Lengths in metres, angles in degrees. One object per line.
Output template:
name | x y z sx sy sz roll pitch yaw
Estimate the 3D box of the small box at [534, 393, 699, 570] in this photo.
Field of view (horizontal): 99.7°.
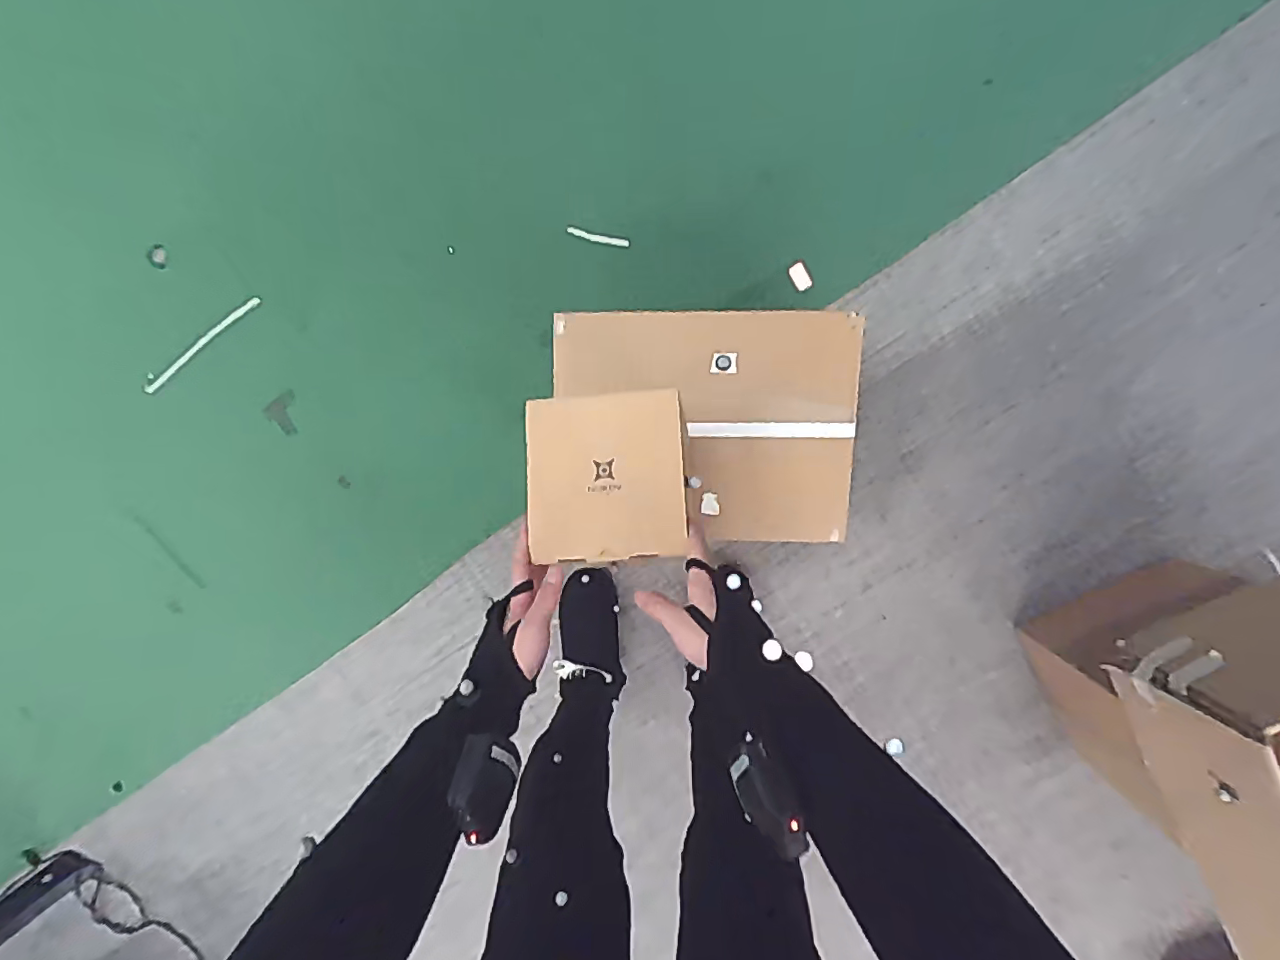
small box | -0.019 0.013 0.629 0.168 0.176 0.179 -4 80 7
